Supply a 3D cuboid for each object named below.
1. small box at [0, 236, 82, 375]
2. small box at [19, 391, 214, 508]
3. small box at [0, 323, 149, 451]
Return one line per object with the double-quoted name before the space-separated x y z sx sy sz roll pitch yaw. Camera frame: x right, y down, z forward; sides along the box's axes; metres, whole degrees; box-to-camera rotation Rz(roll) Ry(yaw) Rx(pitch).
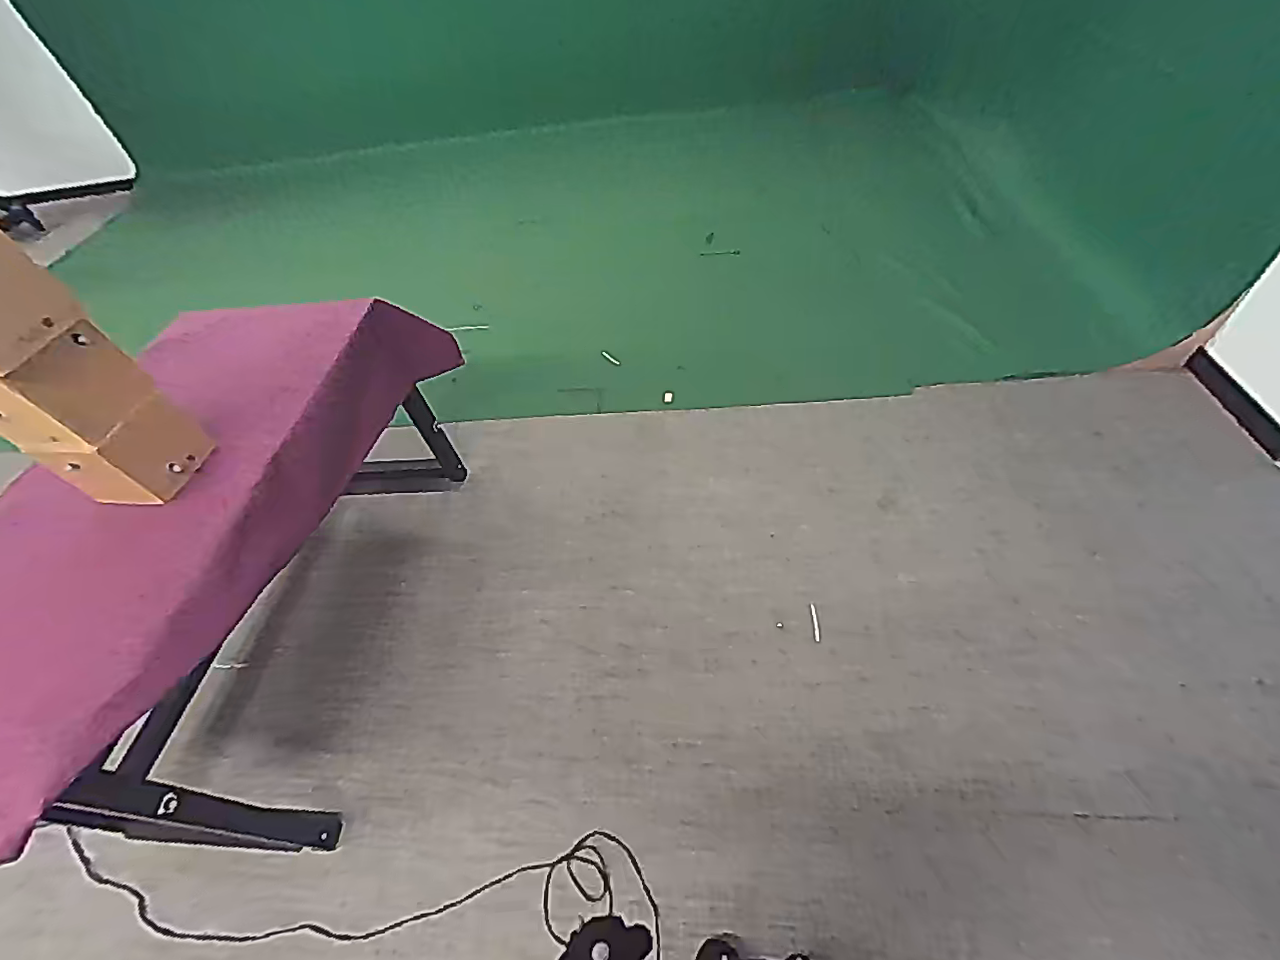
"small box" -1.033 -0.265 0.812 0.179 0.176 0.168 2 53 13
"small box" -1.011 -0.058 1.064 0.179 0.176 0.168 2 53 11
"small box" -1.034 -0.163 0.943 0.168 0.176 0.179 0 52 10
